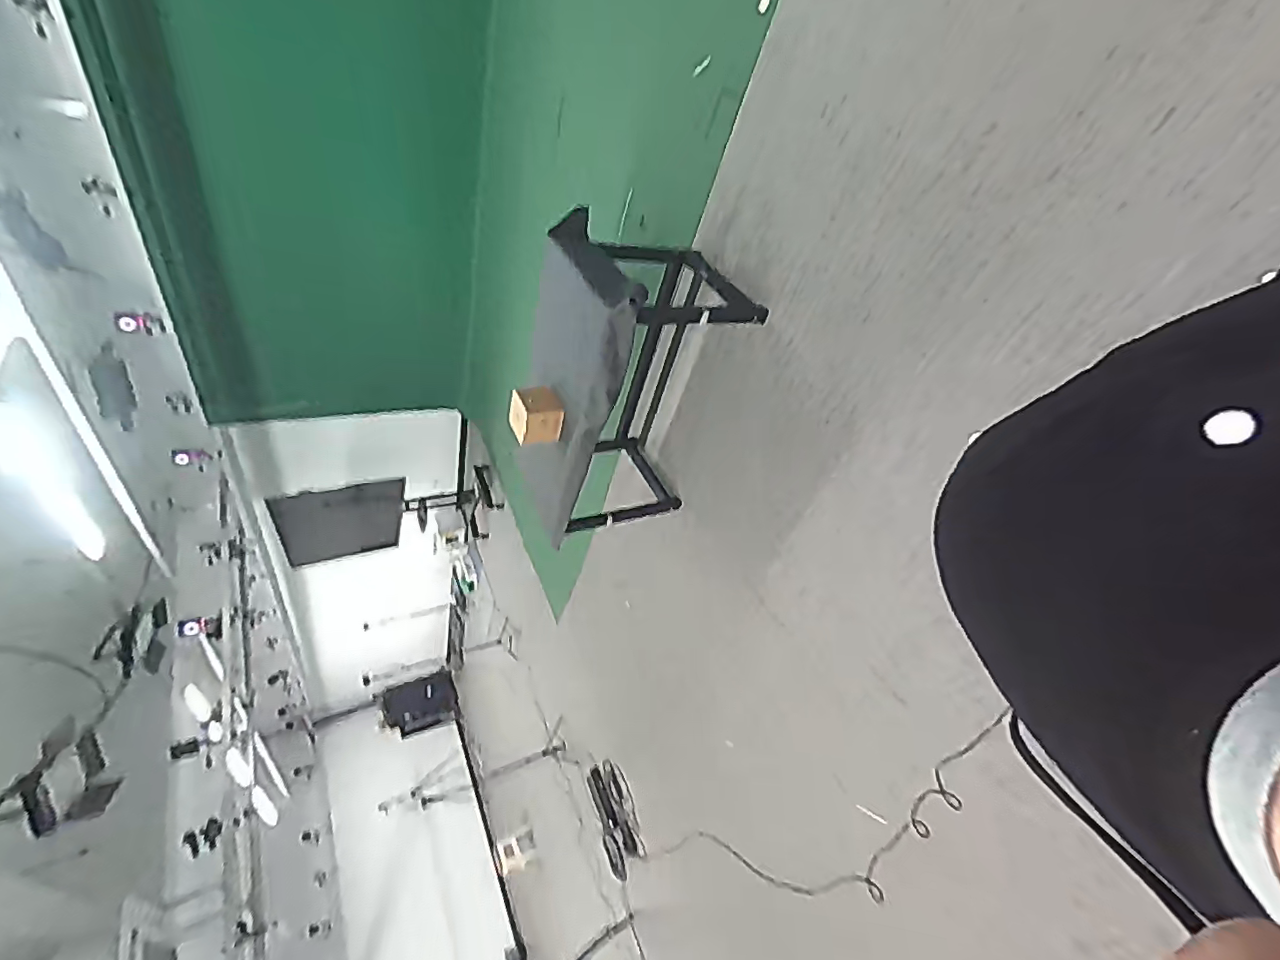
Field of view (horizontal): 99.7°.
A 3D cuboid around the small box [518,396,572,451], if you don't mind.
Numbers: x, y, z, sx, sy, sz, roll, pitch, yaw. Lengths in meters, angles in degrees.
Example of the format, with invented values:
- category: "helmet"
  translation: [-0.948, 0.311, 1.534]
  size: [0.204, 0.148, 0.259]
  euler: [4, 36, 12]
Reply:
- category: "small box"
  translation: [-0.401, -0.247, 2.294]
  size: [0.179, 0.176, 0.168]
  euler: [59, 142, 36]
